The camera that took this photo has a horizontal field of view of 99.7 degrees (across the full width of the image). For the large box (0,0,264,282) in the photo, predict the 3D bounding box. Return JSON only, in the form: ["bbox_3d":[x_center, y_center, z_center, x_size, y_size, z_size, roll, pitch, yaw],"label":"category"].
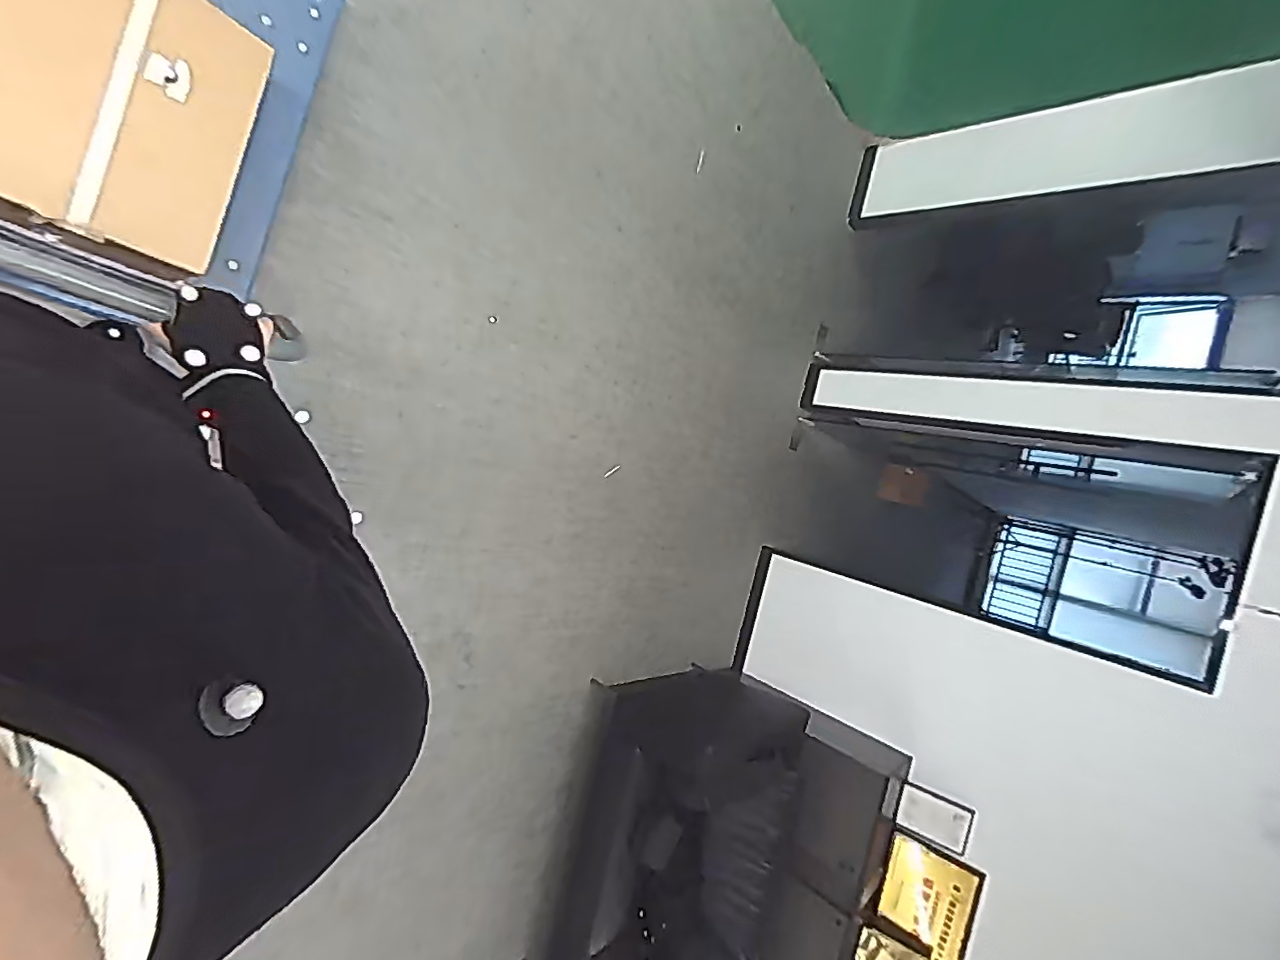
[{"bbox_3d":[-0.892,-0.594,0.900,0.320,0.320,0.408,18,87,-49],"label":"large box"}]
